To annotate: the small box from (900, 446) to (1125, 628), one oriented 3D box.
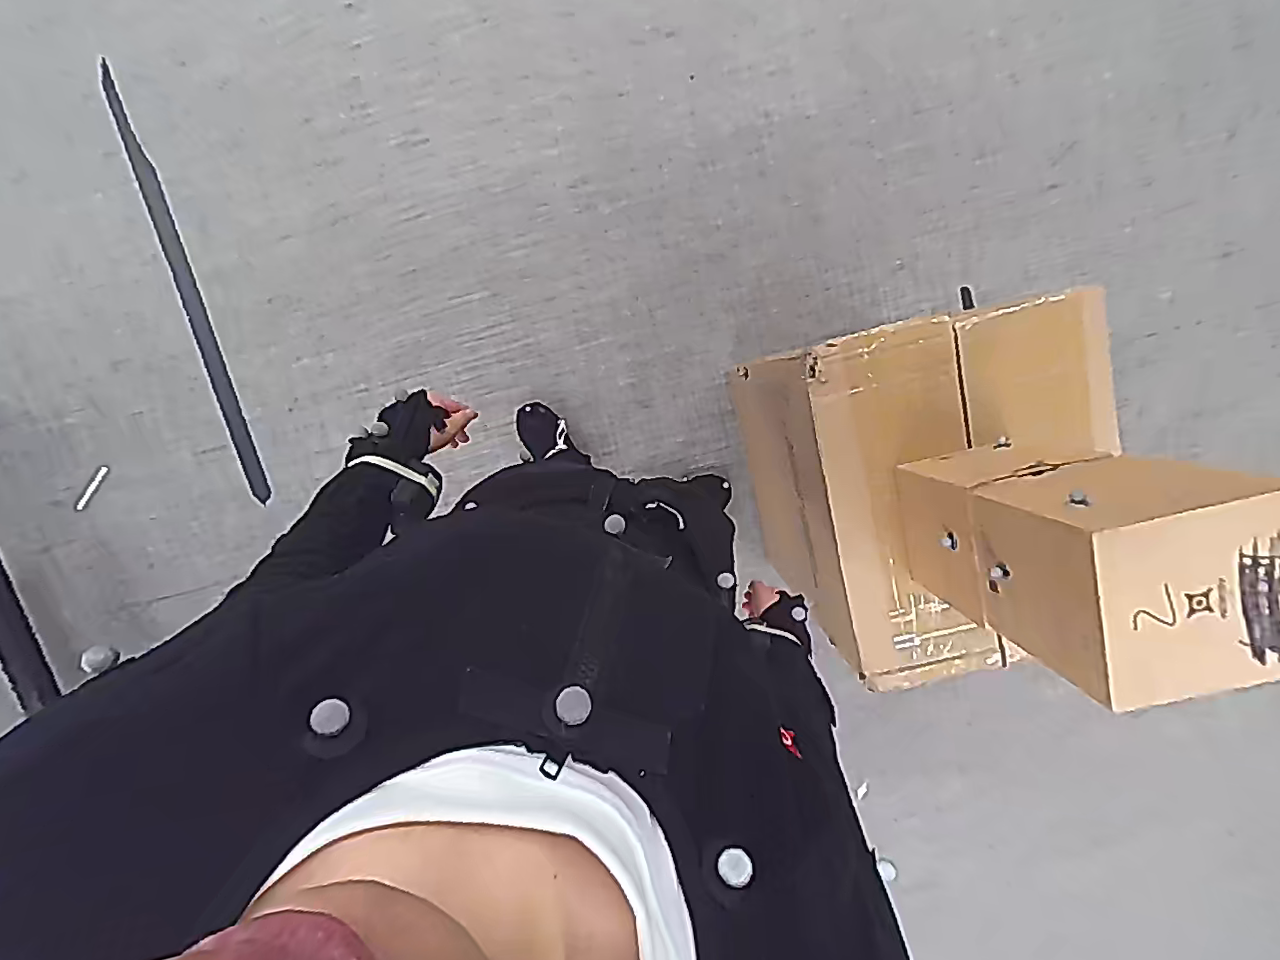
[{"bbox_3d":[0.451,0.058,0.680,0.168,0.176,0.179,-13,99,2],"label":"small box"}]
